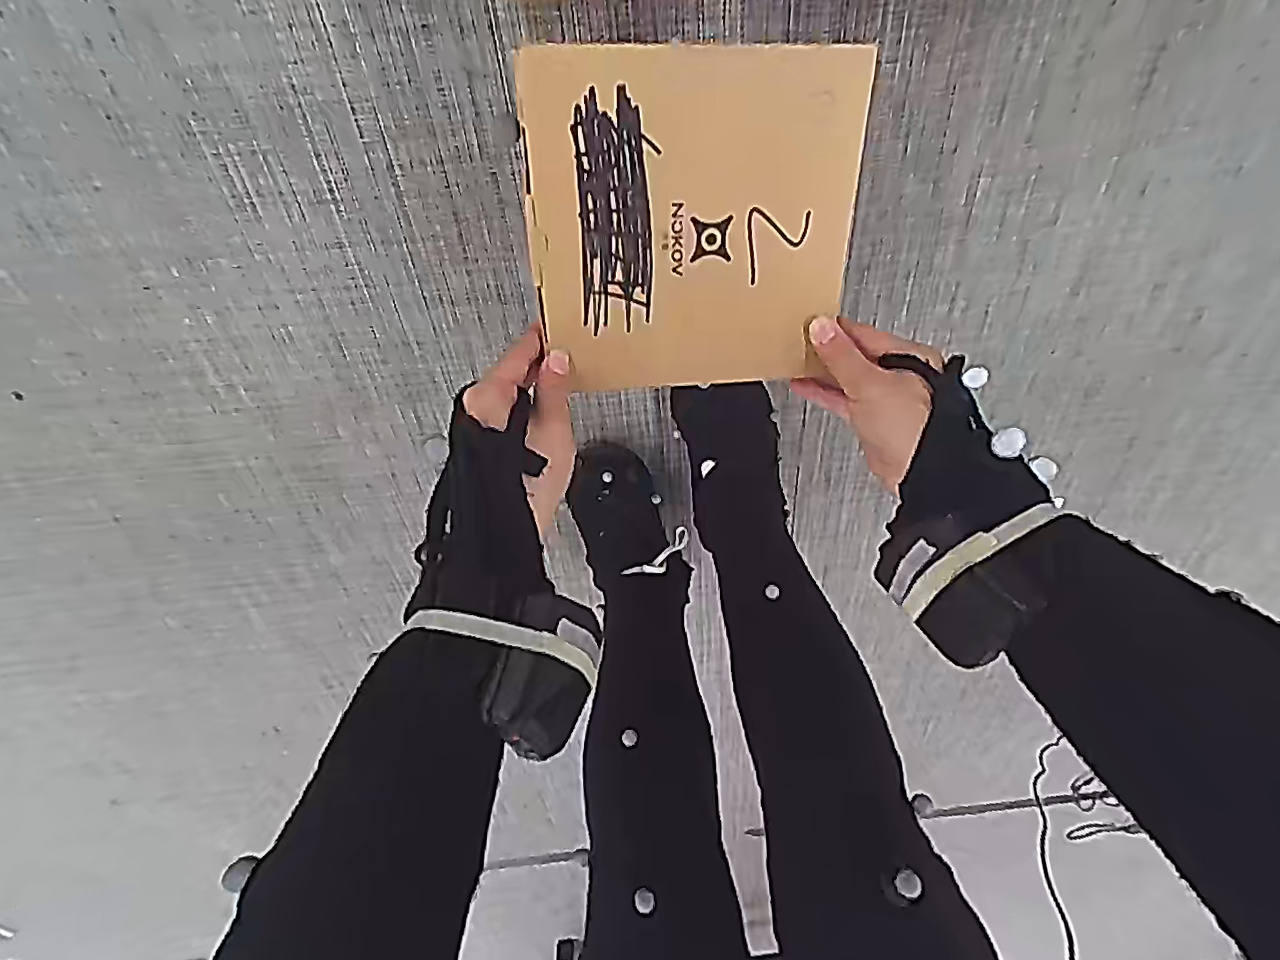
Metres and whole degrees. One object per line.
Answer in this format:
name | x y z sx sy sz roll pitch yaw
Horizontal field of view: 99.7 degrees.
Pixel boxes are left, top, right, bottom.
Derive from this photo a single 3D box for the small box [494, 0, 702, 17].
small box | -0.017 -0.395 0.320 0.179 0.176 0.168 -6 126 -1
